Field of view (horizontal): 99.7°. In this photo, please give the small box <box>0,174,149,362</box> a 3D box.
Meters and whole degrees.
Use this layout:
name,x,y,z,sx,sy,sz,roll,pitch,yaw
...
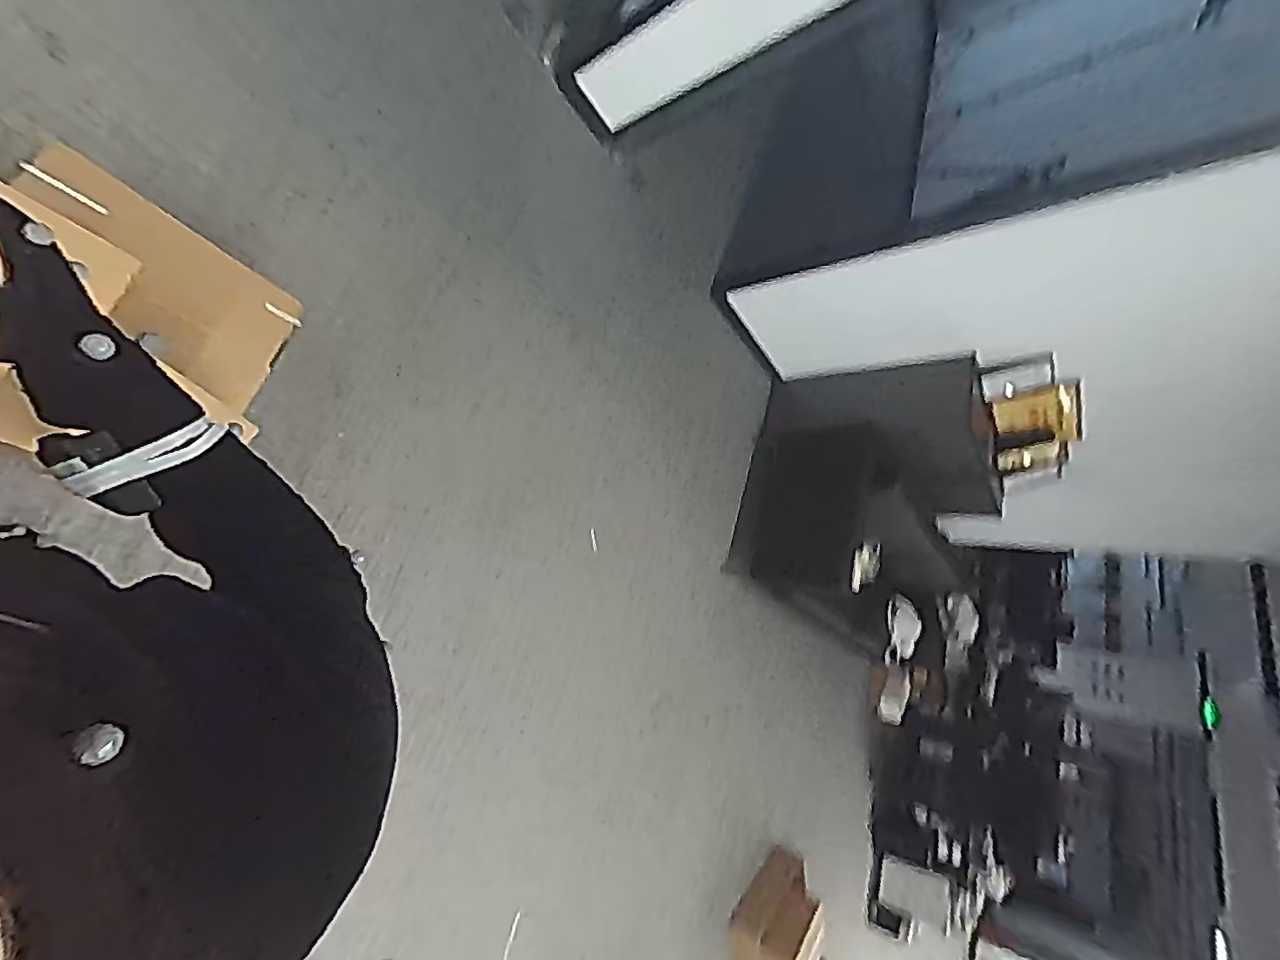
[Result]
name,x,y,z,sx,sy,sz,roll,pitch,yaw
small box,-0.864,-0.286,0.771,0.179,0.176,0.168,36,61,-44
